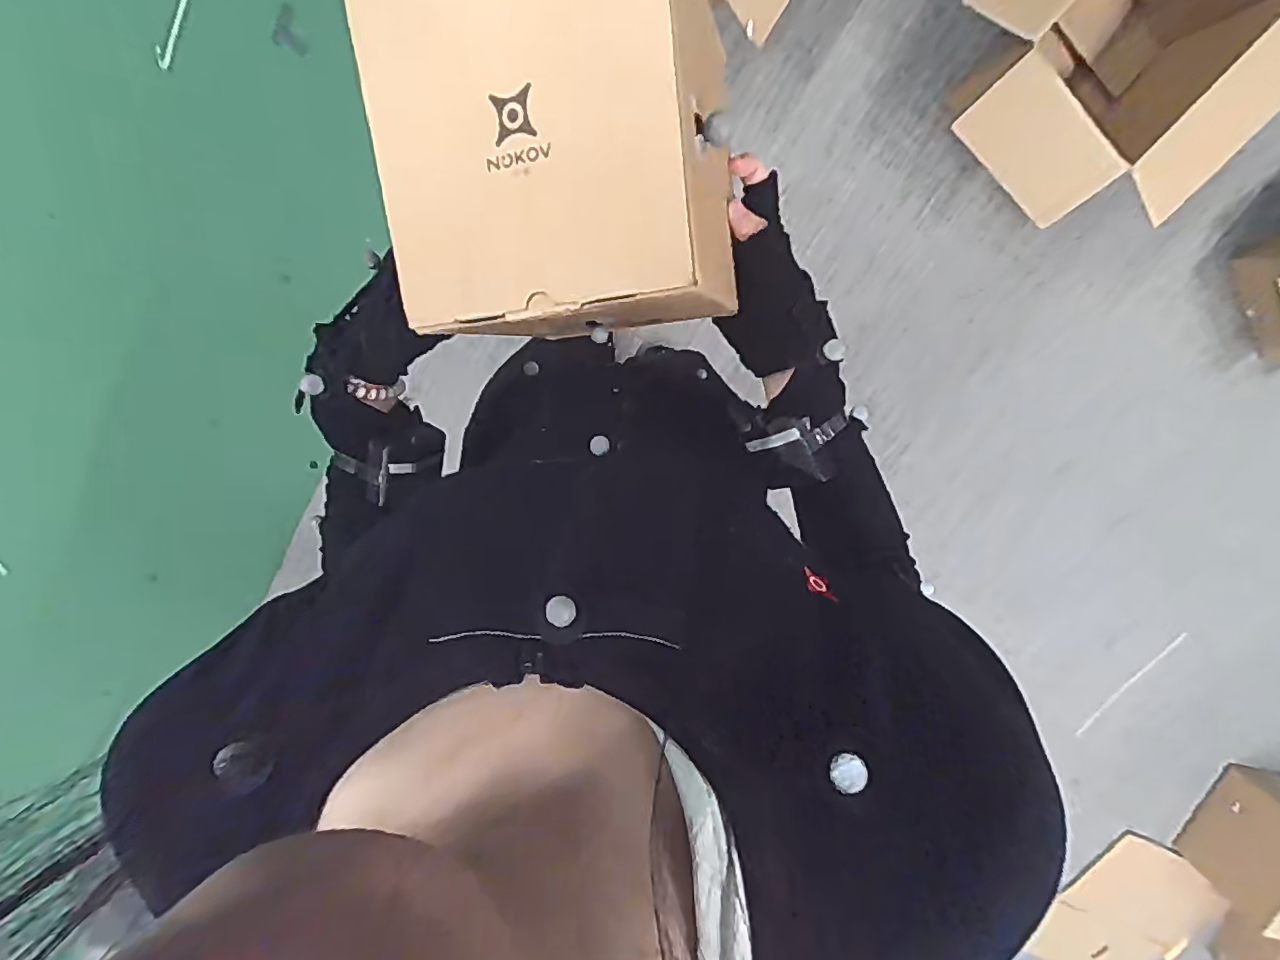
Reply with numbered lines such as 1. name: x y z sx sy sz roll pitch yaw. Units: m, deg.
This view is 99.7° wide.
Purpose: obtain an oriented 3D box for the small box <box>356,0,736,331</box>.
1. small box: -0.036 -0.194 0.342 0.168 0.176 0.179 -2 104 19
